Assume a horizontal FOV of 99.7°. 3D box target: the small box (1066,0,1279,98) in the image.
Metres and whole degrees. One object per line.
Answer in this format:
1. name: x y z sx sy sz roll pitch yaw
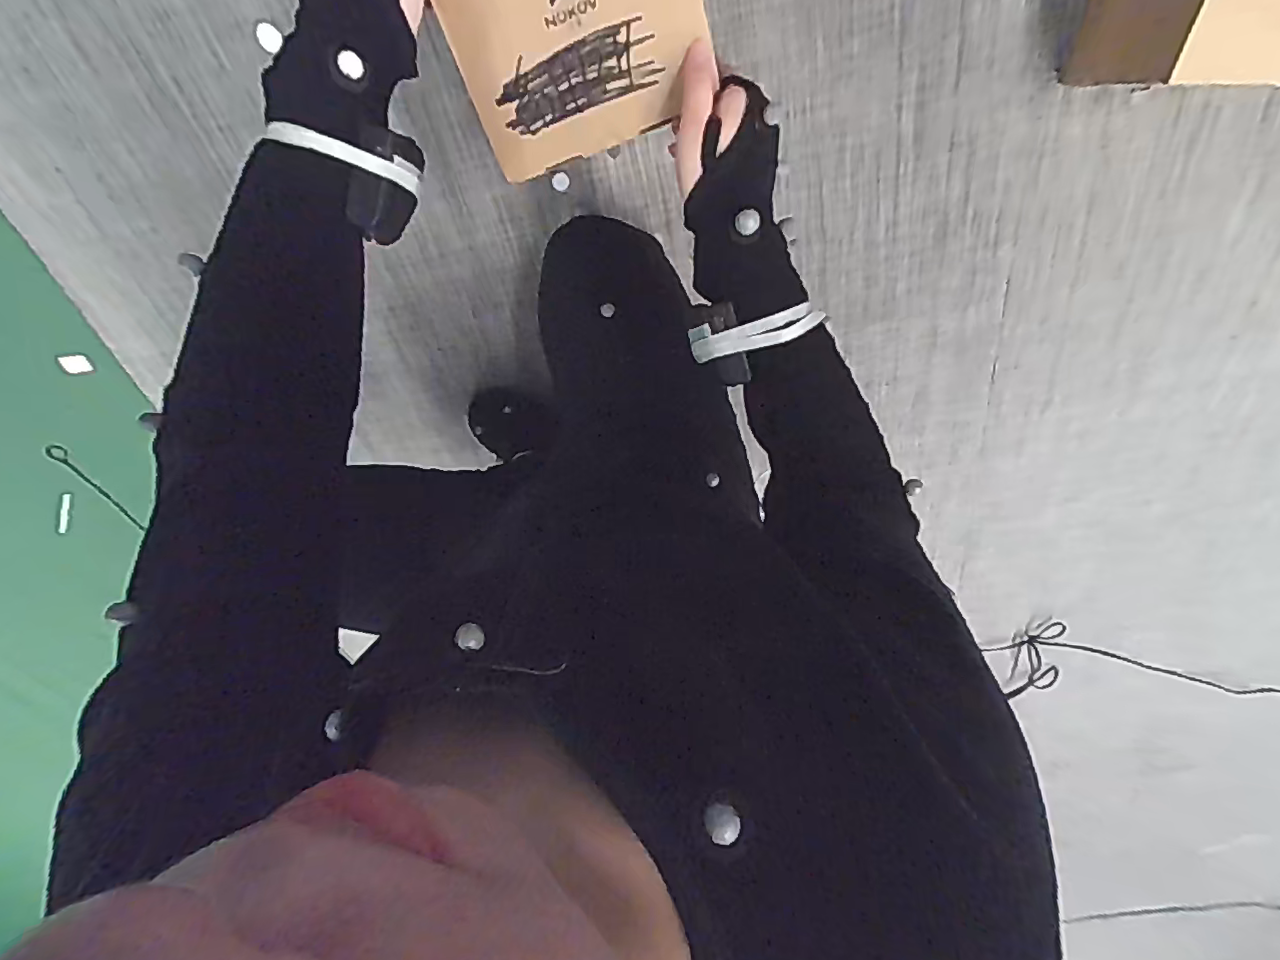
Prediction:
1. small box: 0.557 -0.472 0.507 0.168 0.176 0.179 2 124 2

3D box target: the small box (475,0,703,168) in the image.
1. small box: -0.040 -0.441 0.552 0.179 0.176 0.168 -14 123 13
